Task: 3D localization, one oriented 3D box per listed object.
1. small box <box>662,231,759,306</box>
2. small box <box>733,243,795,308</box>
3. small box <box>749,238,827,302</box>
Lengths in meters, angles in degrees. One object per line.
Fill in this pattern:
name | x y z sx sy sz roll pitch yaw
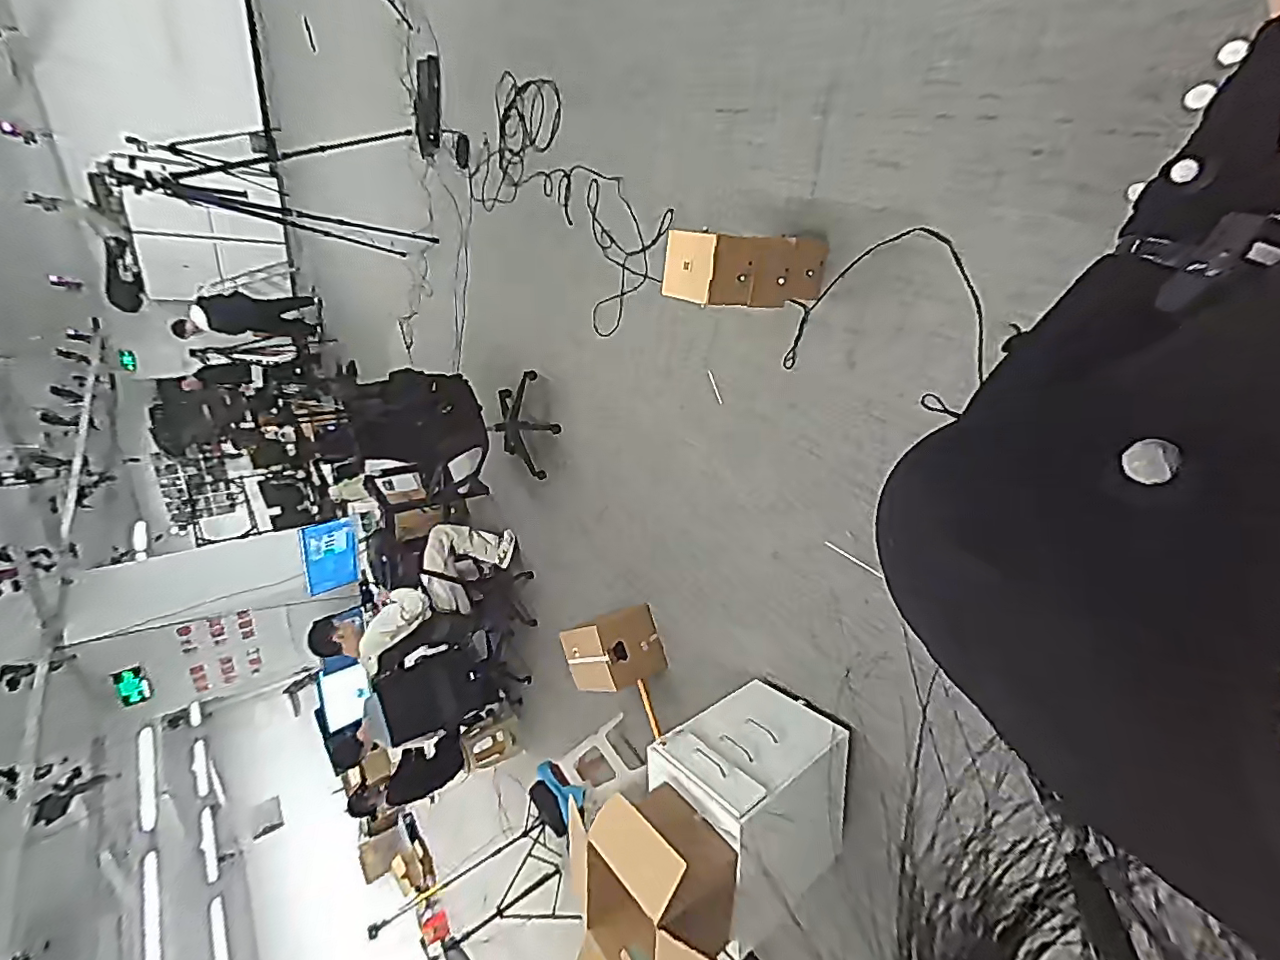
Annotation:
small box | 0.186 -0.561 1.437 0.179 0.176 0.168 31 124 43
small box | 0.309 -0.587 1.541 0.179 0.176 0.168 32 125 42
small box | 0.435 -0.635 1.634 0.179 0.176 0.168 29 122 45
